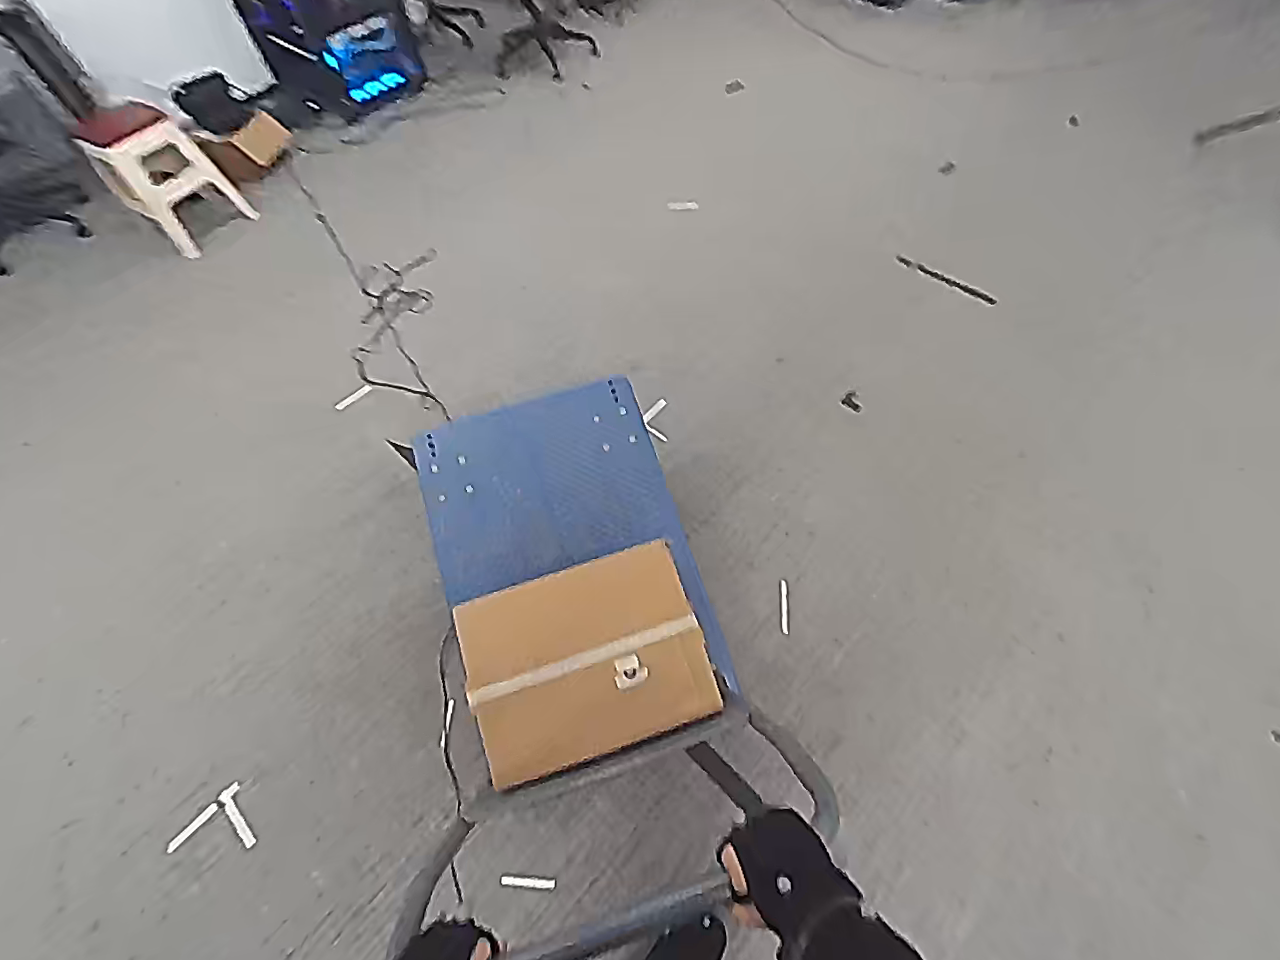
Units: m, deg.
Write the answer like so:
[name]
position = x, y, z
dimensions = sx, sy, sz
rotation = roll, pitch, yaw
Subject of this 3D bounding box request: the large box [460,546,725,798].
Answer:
[large box]
position = -0.093, 0.369, 1.094
dimensions = 0.408, 0.320, 0.320
rotation = -18, 75, -7
